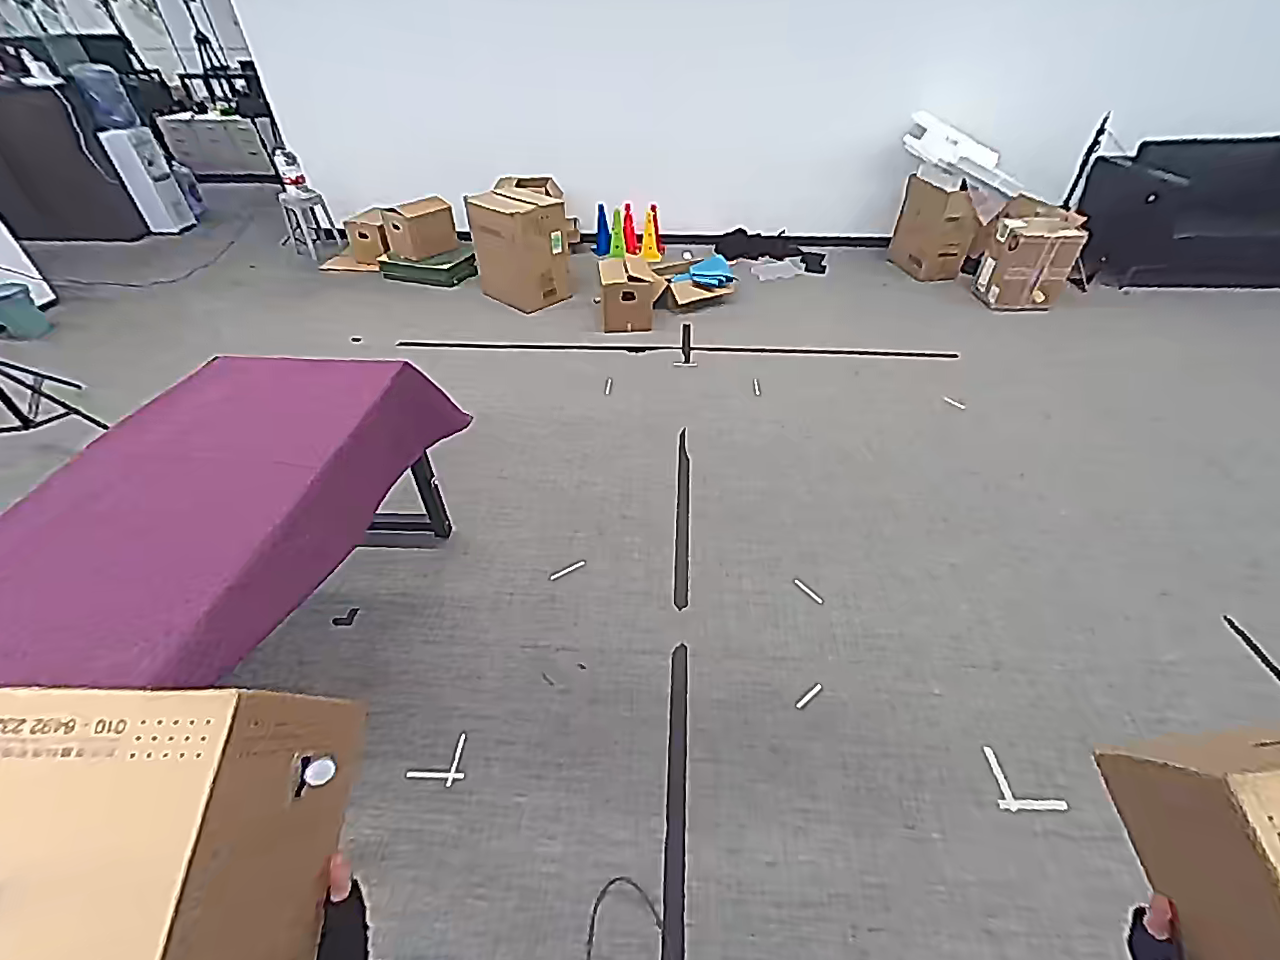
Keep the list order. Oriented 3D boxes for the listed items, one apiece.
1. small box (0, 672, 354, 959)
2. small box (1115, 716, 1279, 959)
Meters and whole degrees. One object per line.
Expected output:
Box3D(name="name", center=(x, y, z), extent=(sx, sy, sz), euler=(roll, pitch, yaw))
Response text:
Box3D(name="small box", center=(-0.270, 0.190, 0.268), extent=(0.168, 0.179, 0.176), euler=(4, 65, -6))
Box3D(name="small box", center=(0.389, 0.211, 0.264), extent=(0.168, 0.179, 0.176), euler=(-16, 65, 16))
